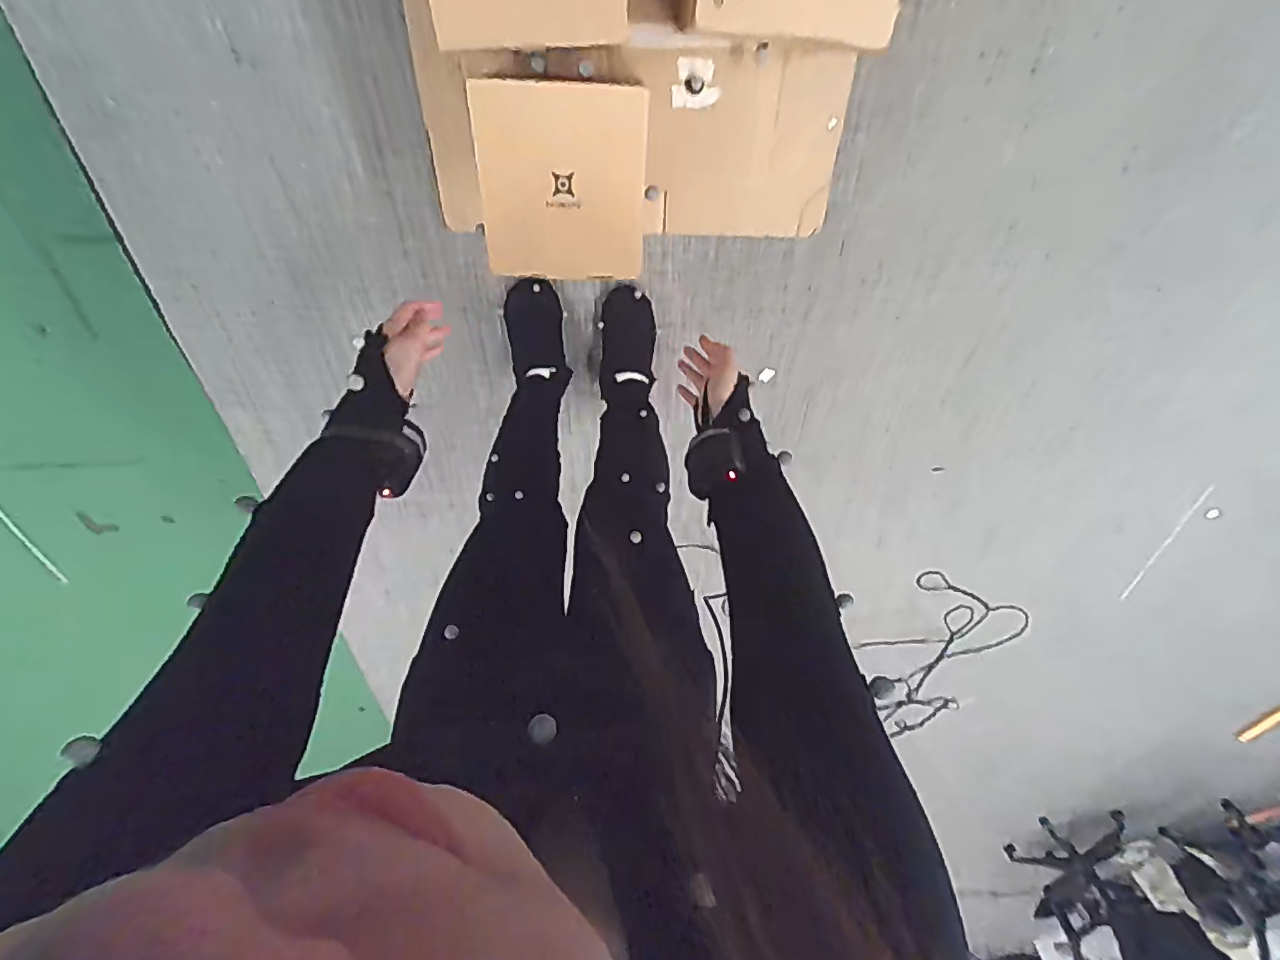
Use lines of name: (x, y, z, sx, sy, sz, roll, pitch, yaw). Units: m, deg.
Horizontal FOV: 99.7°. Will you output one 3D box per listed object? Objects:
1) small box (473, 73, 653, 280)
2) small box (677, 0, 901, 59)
small box: (-0.079, -0.338, 0.600, 0.168, 0.176, 0.179, 0, 130, -4)
small box: (0.137, -0.495, 0.488, 0.179, 0.176, 0.168, 3, 128, -5)
